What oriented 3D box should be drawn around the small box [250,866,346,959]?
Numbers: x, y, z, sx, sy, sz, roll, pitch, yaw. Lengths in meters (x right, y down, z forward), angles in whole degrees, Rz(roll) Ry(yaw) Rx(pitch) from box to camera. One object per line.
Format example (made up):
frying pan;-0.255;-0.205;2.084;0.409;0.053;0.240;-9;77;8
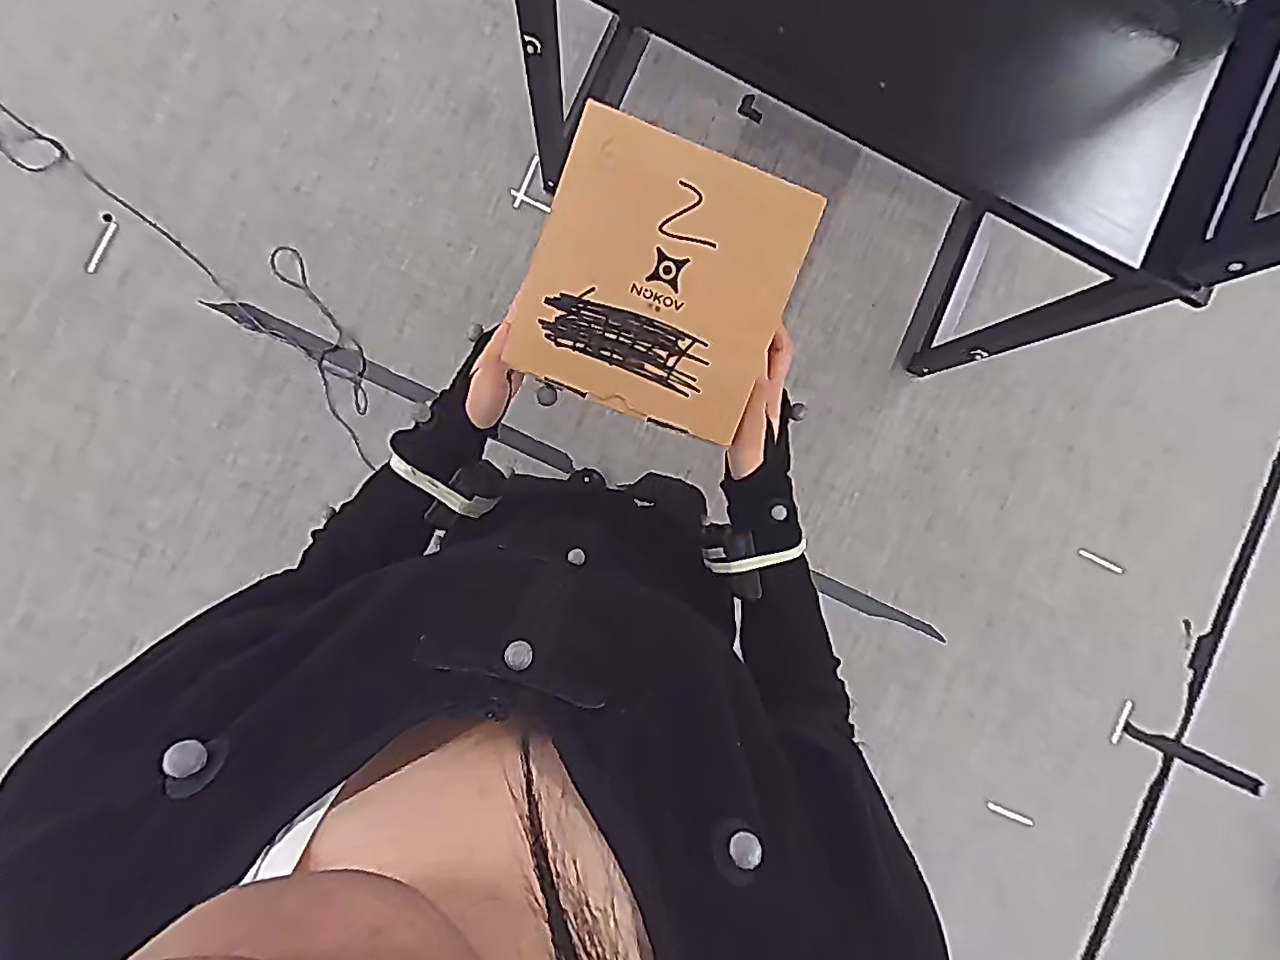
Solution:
small box;-0.862;1.112;1.332;0.168;0.176;0.179;24;87;-6
